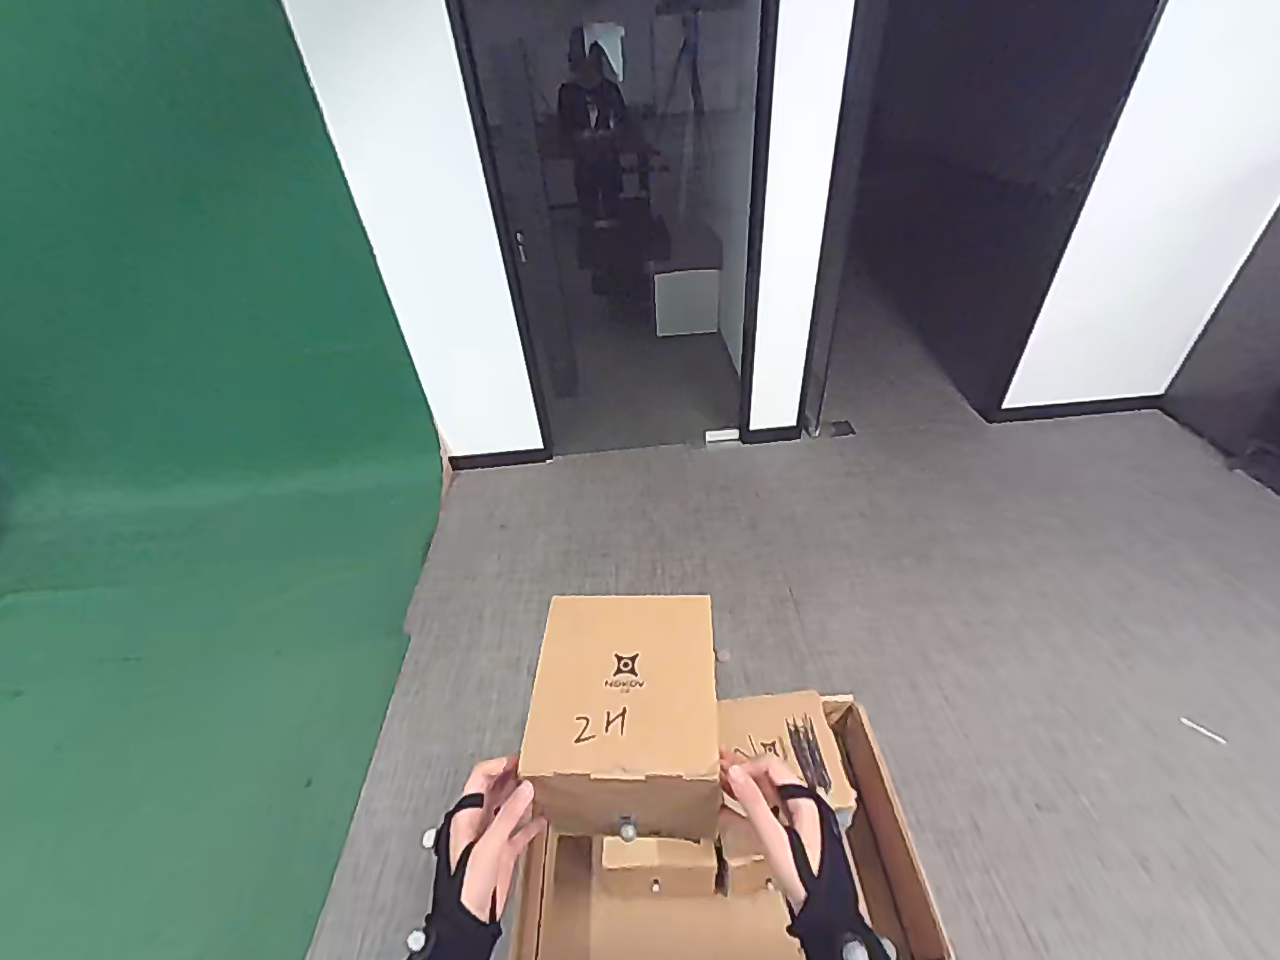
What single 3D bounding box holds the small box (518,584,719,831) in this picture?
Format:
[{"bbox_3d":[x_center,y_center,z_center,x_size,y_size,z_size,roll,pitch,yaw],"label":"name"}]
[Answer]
[{"bbox_3d":[-0.008,0.226,0.546,0.168,0.176,0.179,-1,42,6],"label":"small box"}]
